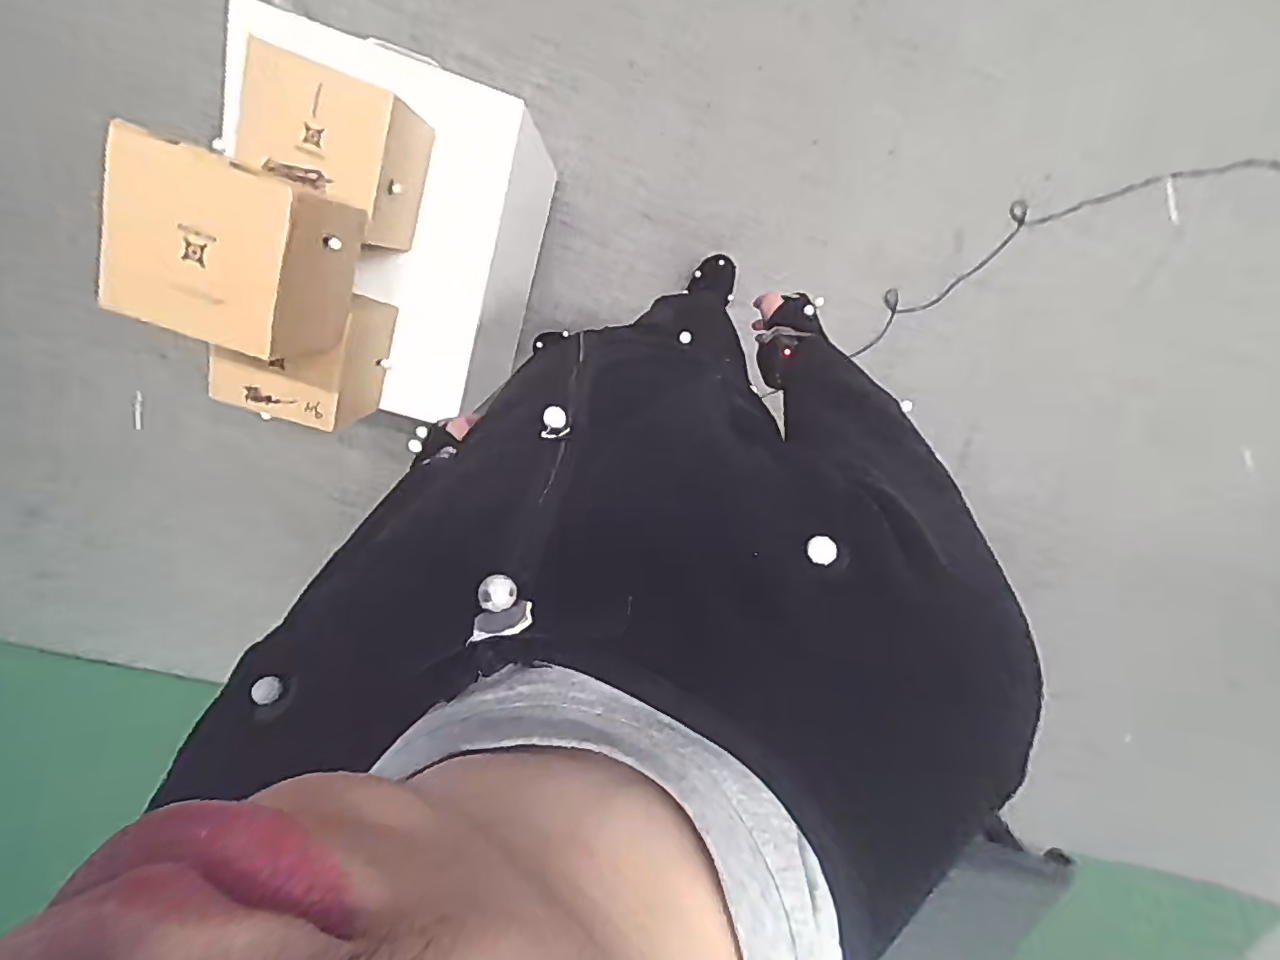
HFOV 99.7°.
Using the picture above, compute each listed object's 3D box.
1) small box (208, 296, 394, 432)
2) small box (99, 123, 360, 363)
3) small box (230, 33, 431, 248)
[{"bbox_3d":[-0.483,-0.191,0.793,0.168,0.176,0.179,16,106,-8],"label":"small box"},{"bbox_3d":[-0.438,-0.250,0.601,0.168,0.176,0.179,18,109,-8],"label":"small box"},{"bbox_3d":[-0.395,-0.422,0.713,0.168,0.176,0.179,18,107,-9],"label":"small box"}]
